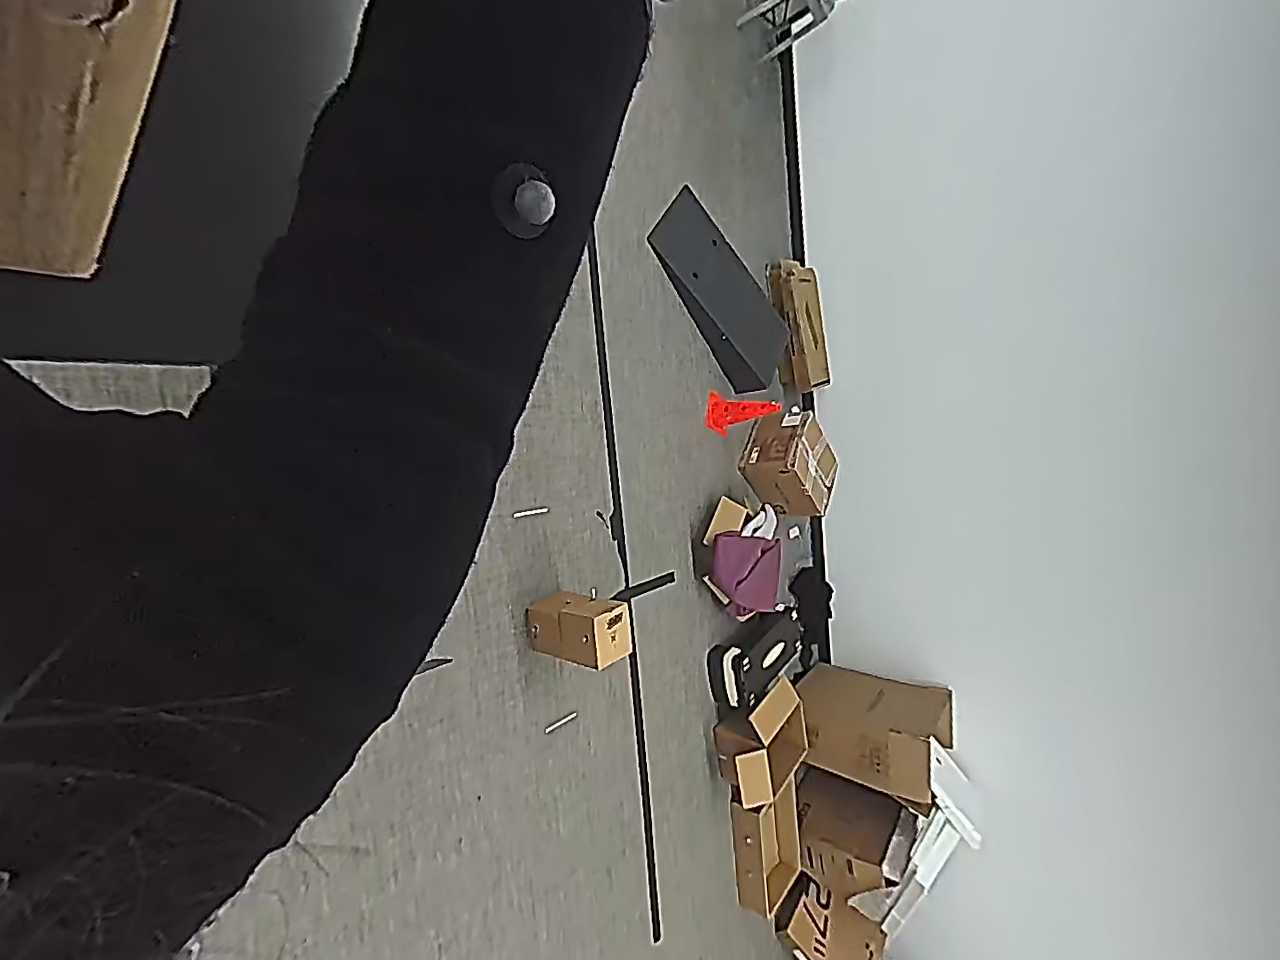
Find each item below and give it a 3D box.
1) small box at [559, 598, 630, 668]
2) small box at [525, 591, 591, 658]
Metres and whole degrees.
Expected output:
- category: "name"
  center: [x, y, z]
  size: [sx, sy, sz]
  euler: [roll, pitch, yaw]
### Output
- category: "small box"
  center: [-0.156, 0.504, 1.814]
  size: [0.168, 0.176, 0.179]
  euler: [-11, 98, -49]
- category: "small box"
  center: [-0.282, 0.506, 1.921]
  size: [0.179, 0.176, 0.168]
  euler: [-17, 101, -47]
